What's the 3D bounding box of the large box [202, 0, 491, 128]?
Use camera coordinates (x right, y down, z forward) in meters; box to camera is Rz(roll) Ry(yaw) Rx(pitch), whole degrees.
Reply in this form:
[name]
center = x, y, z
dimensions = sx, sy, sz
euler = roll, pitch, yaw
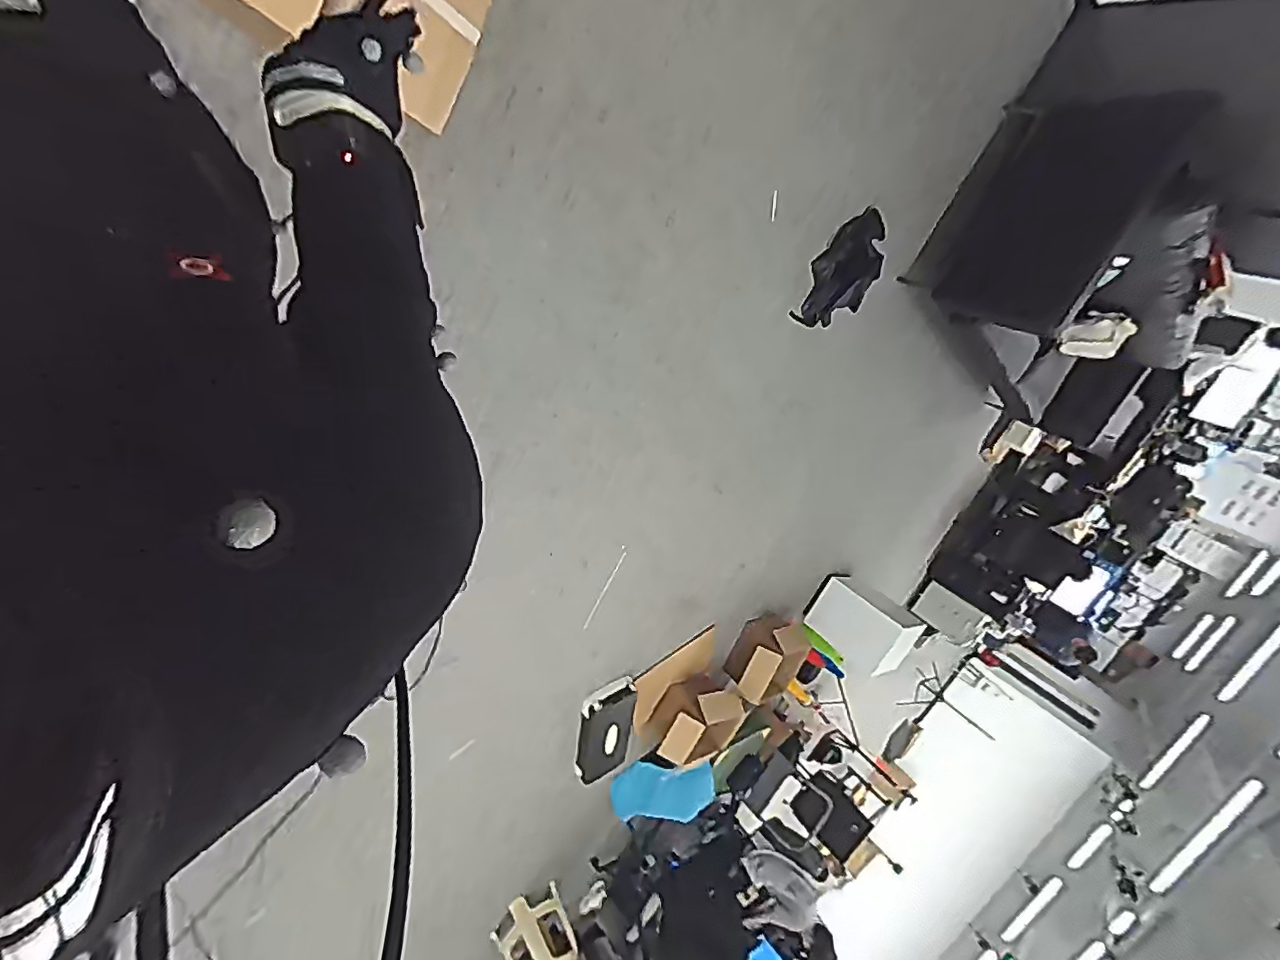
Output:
[large box]
center = -0.481, -0.813, 0.808
dimensions = 0.408, 0.320, 0.320
euler = 13, 111, -49
